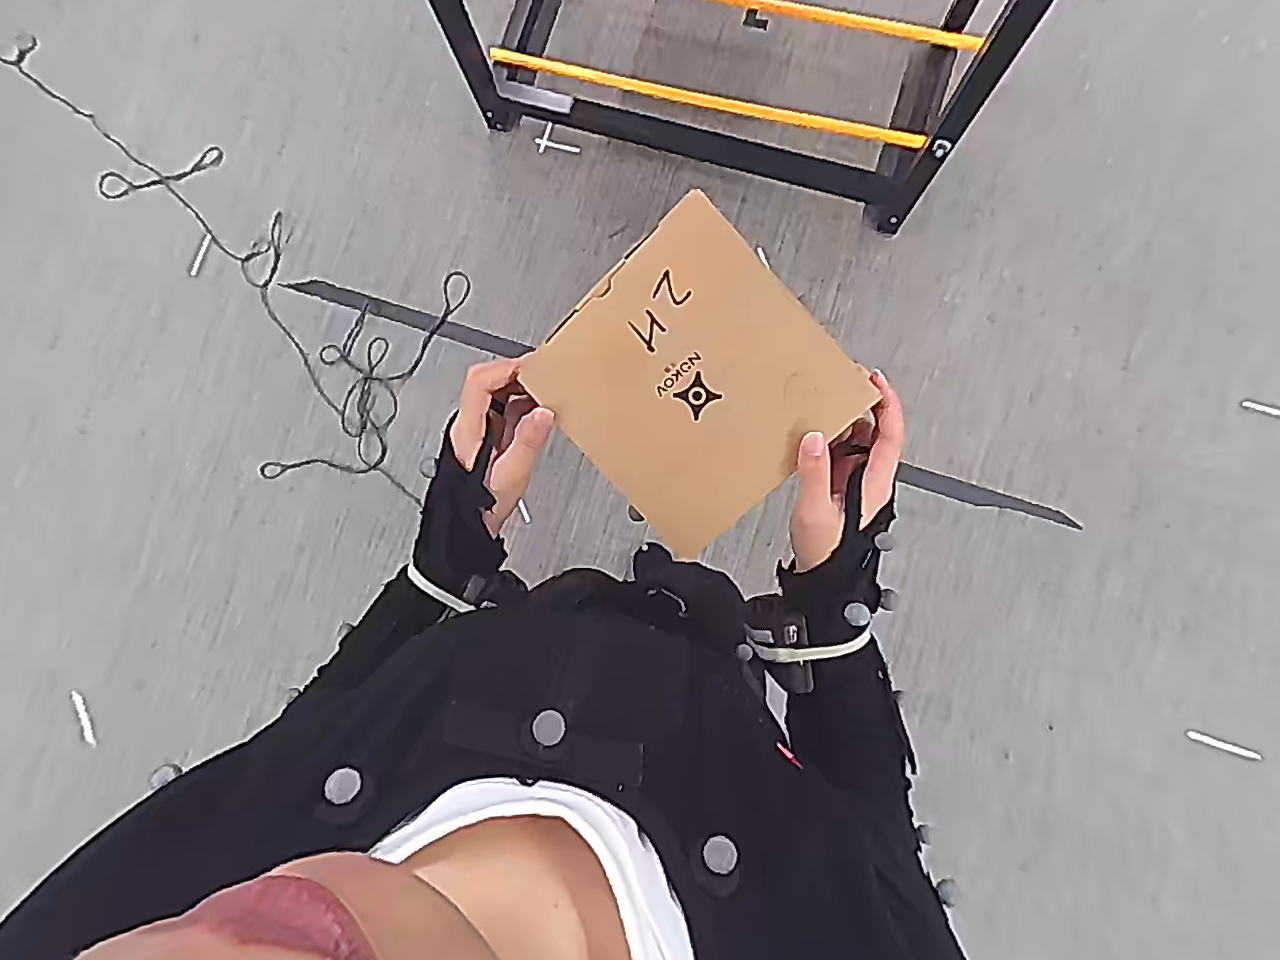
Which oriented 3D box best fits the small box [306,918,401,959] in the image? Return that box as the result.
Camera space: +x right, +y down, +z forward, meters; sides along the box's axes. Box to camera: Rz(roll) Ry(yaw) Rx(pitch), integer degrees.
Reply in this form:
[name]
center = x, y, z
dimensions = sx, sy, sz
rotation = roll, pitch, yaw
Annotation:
[small box]
center = -0.686, 1.182, 1.252
dimensions = 0.168, 0.176, 0.179
rotation = 15, 84, 6
